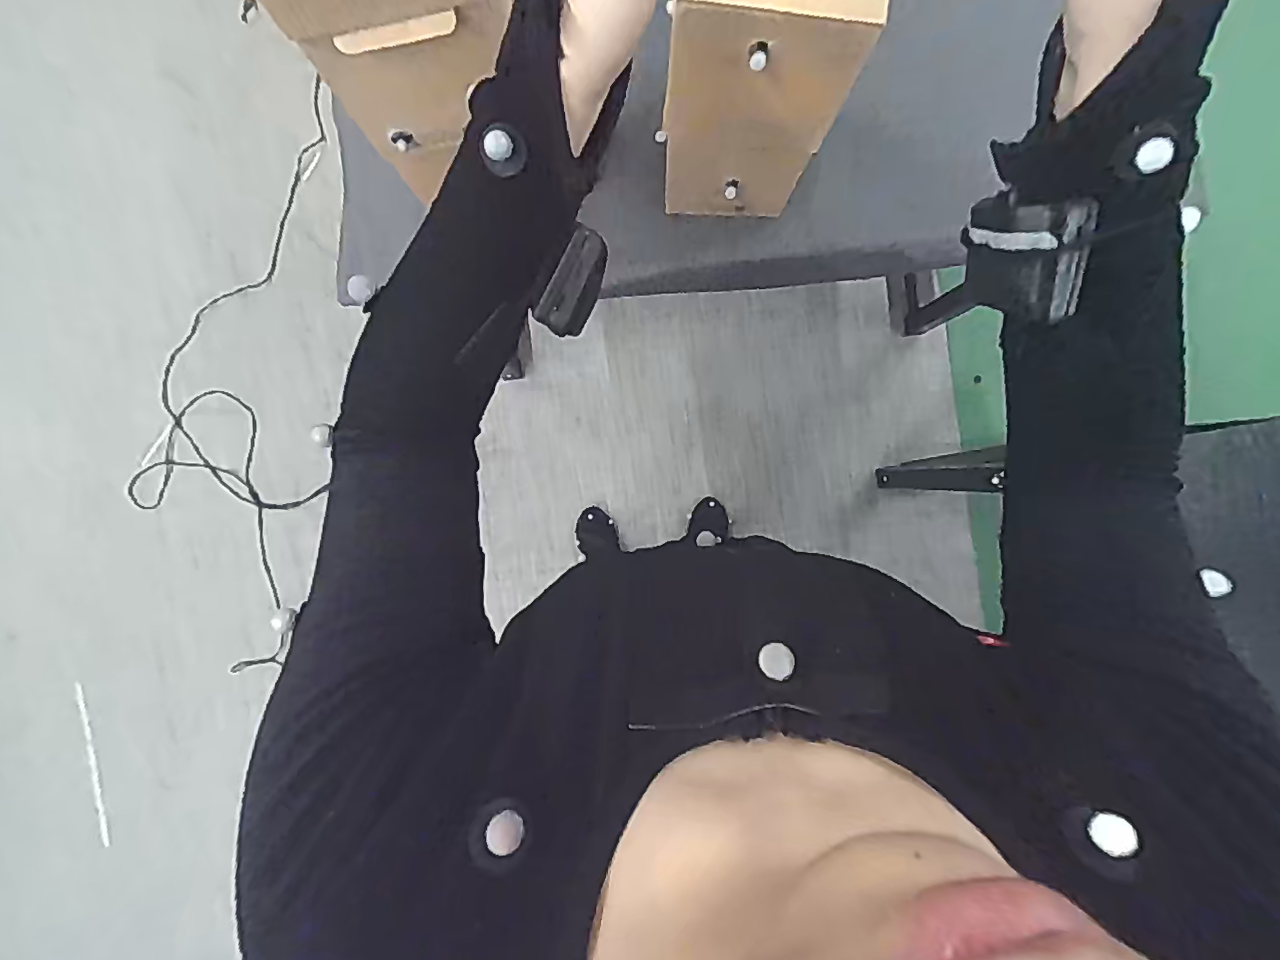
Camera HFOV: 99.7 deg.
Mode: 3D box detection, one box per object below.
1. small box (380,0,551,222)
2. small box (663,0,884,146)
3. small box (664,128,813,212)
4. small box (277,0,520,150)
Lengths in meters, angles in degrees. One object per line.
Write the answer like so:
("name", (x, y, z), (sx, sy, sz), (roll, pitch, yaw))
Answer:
("small box", (-0.216, -0.455, 0.686), (0.179, 0.176, 0.168), (-9, 88, 1))
("small box", (0.120, -0.455, 0.519), (0.179, 0.176, 0.168), (7, 89, 1))
("small box", (0.117, -0.461, 0.682), (0.168, 0.176, 0.179), (2, 90, 1))
("small box", (-0.225, -0.454, 0.521), (0.168, 0.176, 0.179), (-13, 88, 0))
